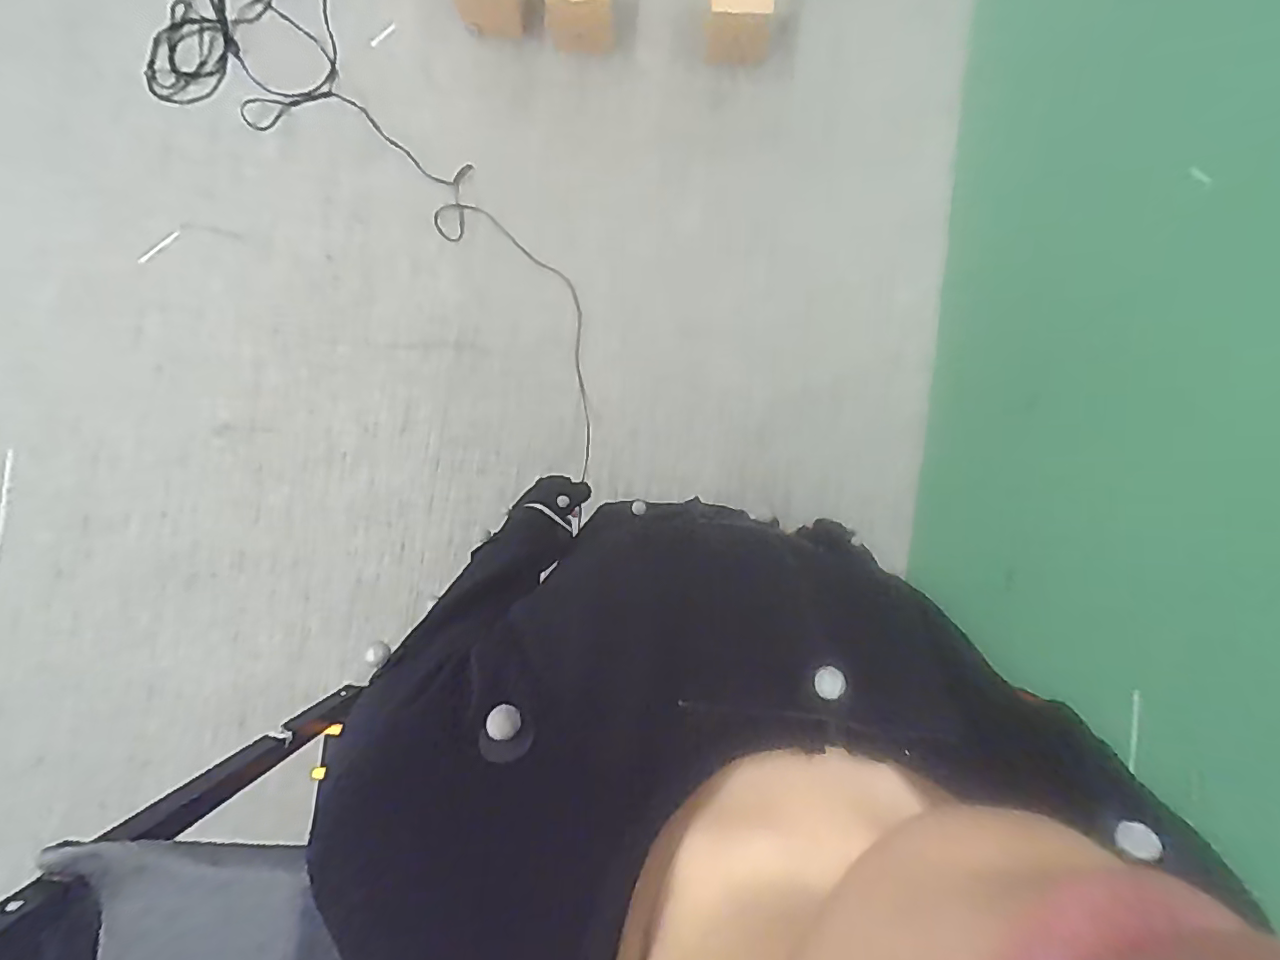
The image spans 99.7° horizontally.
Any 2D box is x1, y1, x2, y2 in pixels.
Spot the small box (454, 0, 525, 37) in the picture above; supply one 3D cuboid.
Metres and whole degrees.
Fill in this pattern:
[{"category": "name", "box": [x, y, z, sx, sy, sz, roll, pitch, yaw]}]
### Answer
[{"category": "small box", "box": [-0.412, -1.359, 1.472, 0.168, 0.176, 0.179, 4, 87, 0]}]
